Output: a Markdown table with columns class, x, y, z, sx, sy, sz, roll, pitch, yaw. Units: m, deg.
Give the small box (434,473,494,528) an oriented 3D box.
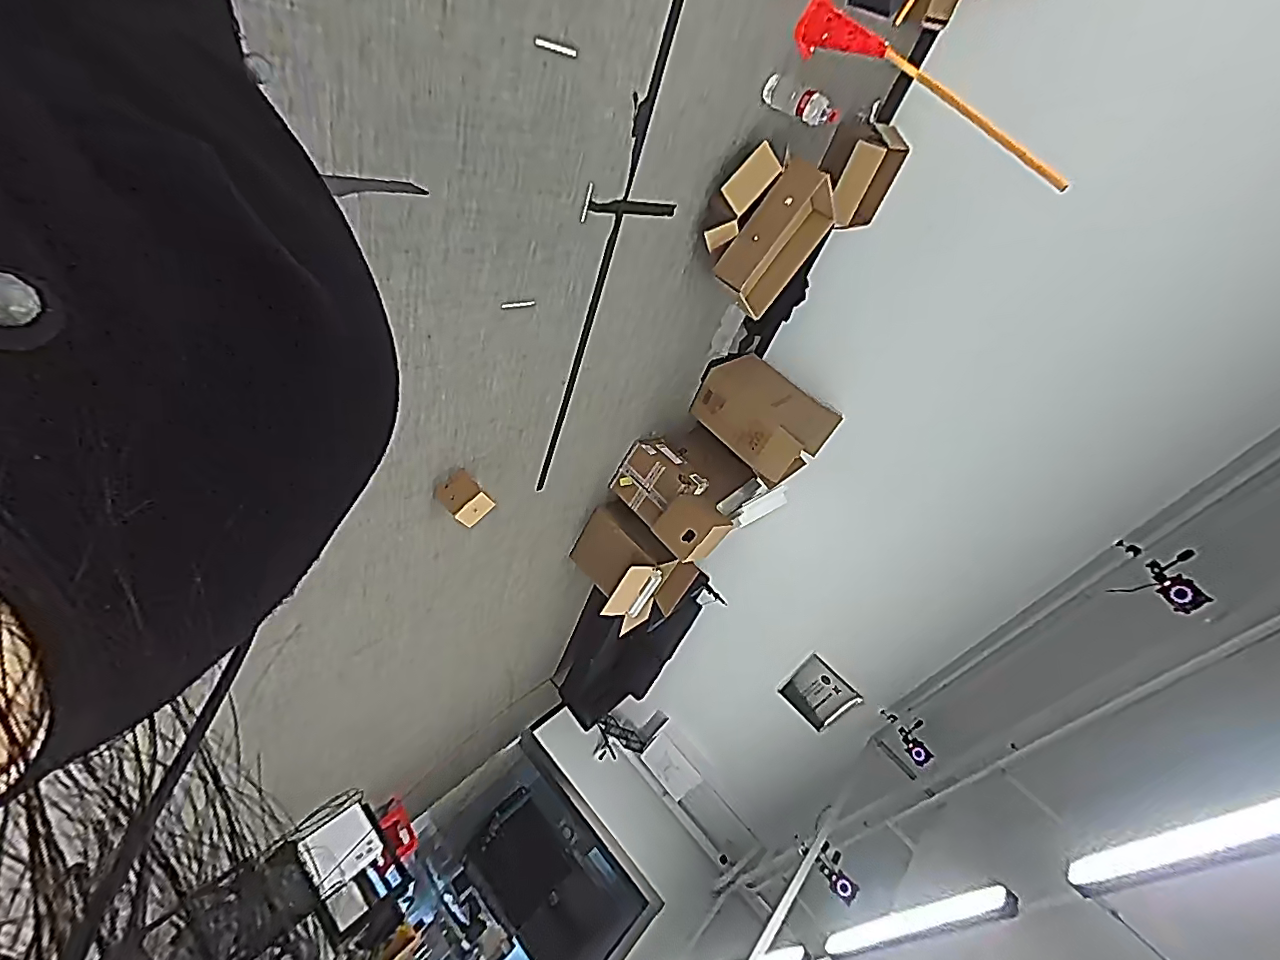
| class | x | y | z | sx | sy | sz | roll | pitch | yaw |
| --- | --- | --- | --- | --- | --- | --- | --- | --- | --- |
| small box | -0.814 | 0.091 | 2.496 | 0.168 | 0.176 | 0.179 | -43 | 160 | -9 |
